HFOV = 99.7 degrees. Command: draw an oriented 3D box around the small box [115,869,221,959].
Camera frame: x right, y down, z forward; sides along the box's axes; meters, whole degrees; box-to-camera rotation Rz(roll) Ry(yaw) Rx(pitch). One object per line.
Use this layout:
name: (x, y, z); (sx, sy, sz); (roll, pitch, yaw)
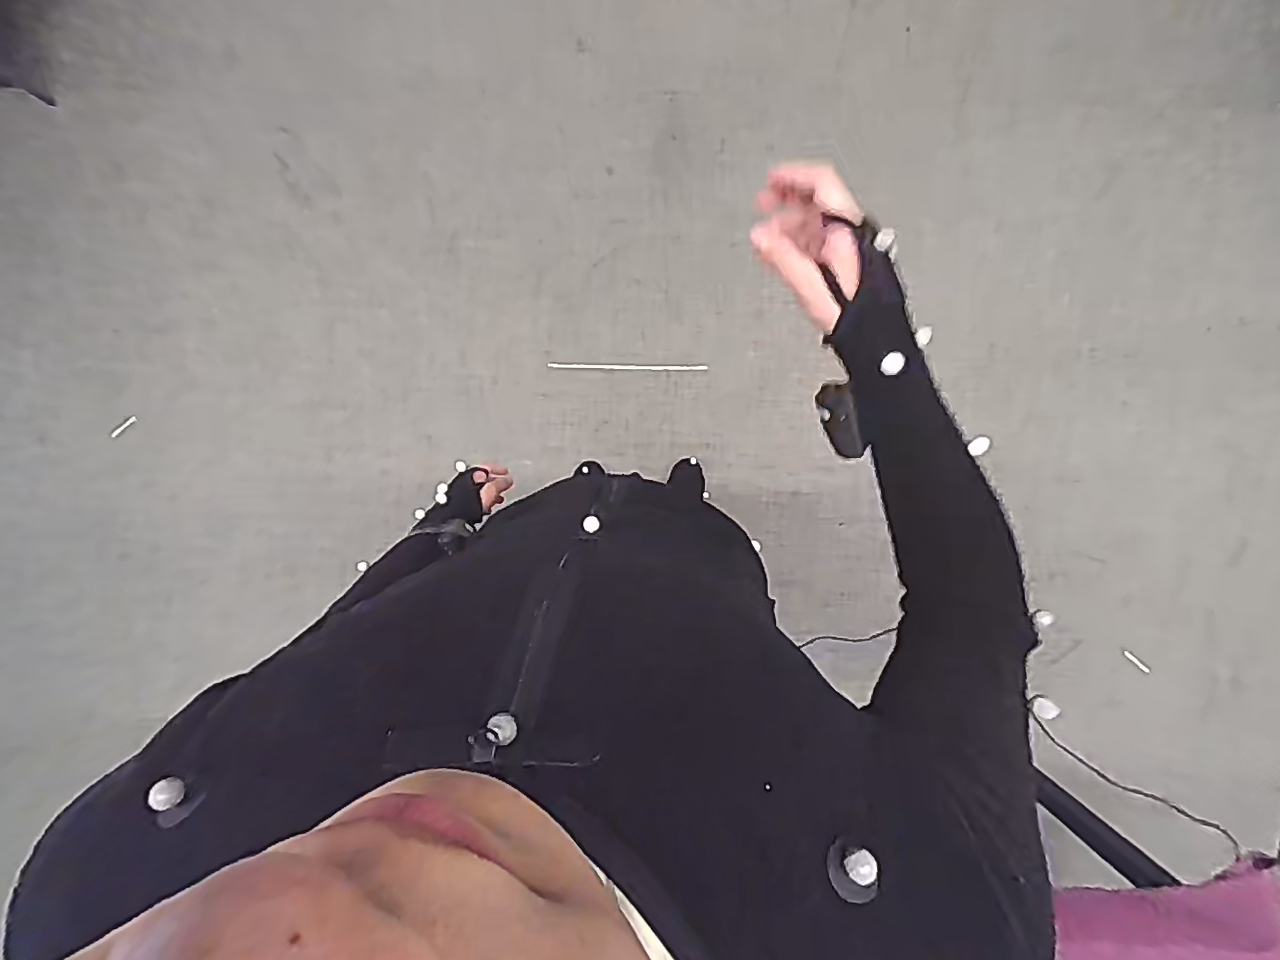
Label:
small box: (-1.404, 1.302, 1.613); (0.179, 0.176, 0.168); (0, 92, 1)
